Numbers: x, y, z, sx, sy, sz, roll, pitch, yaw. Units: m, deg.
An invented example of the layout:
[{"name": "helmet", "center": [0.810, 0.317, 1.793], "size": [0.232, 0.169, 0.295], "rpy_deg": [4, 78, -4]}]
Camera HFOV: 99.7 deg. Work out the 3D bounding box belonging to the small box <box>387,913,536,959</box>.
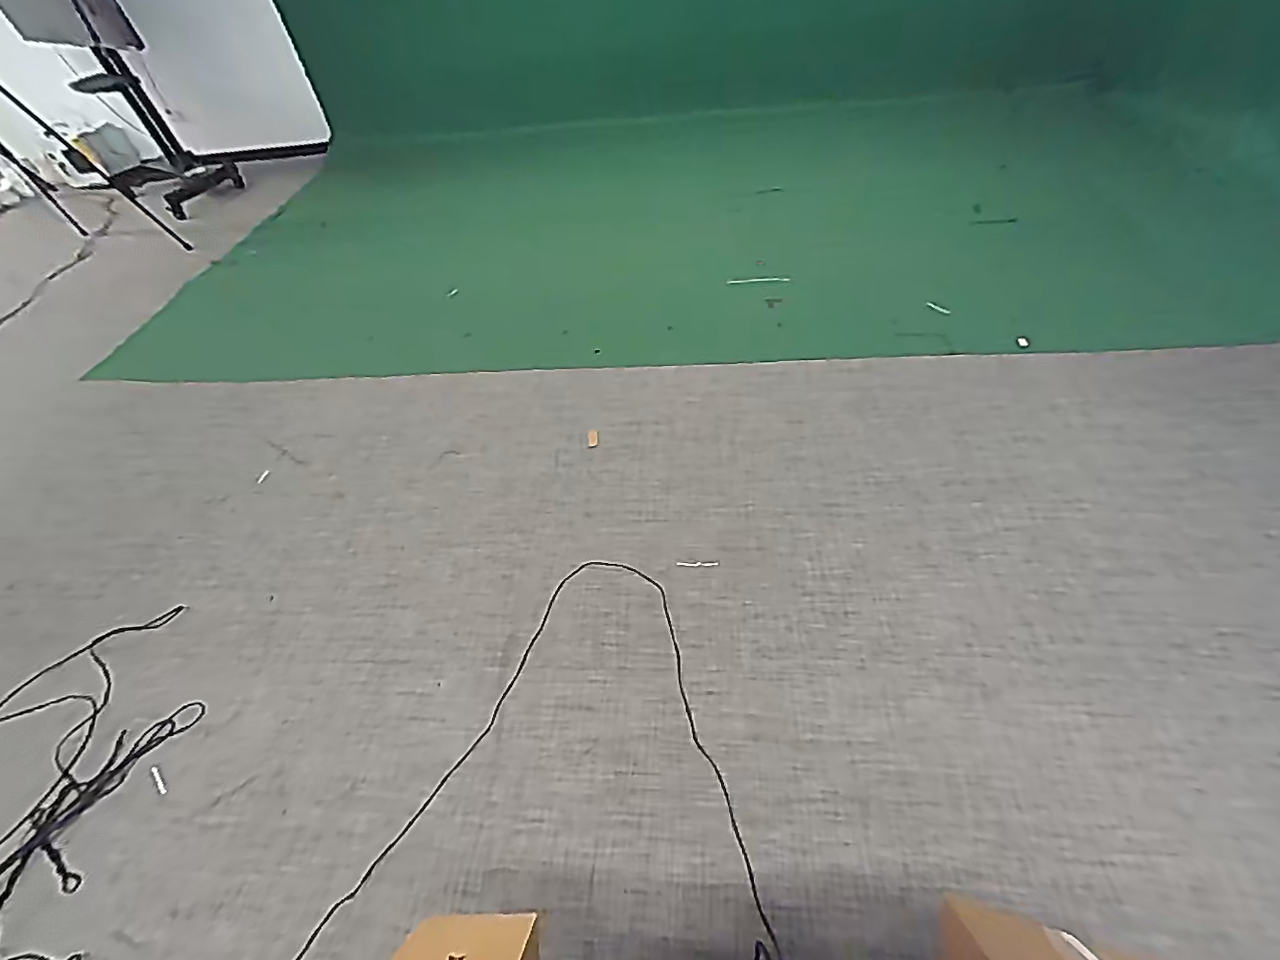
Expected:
[{"name": "small box", "center": [-0.224, 0.662, 0.640], "size": [0.168, 0.179, 0.176], "rpy_deg": [-4, 85, 3]}]
